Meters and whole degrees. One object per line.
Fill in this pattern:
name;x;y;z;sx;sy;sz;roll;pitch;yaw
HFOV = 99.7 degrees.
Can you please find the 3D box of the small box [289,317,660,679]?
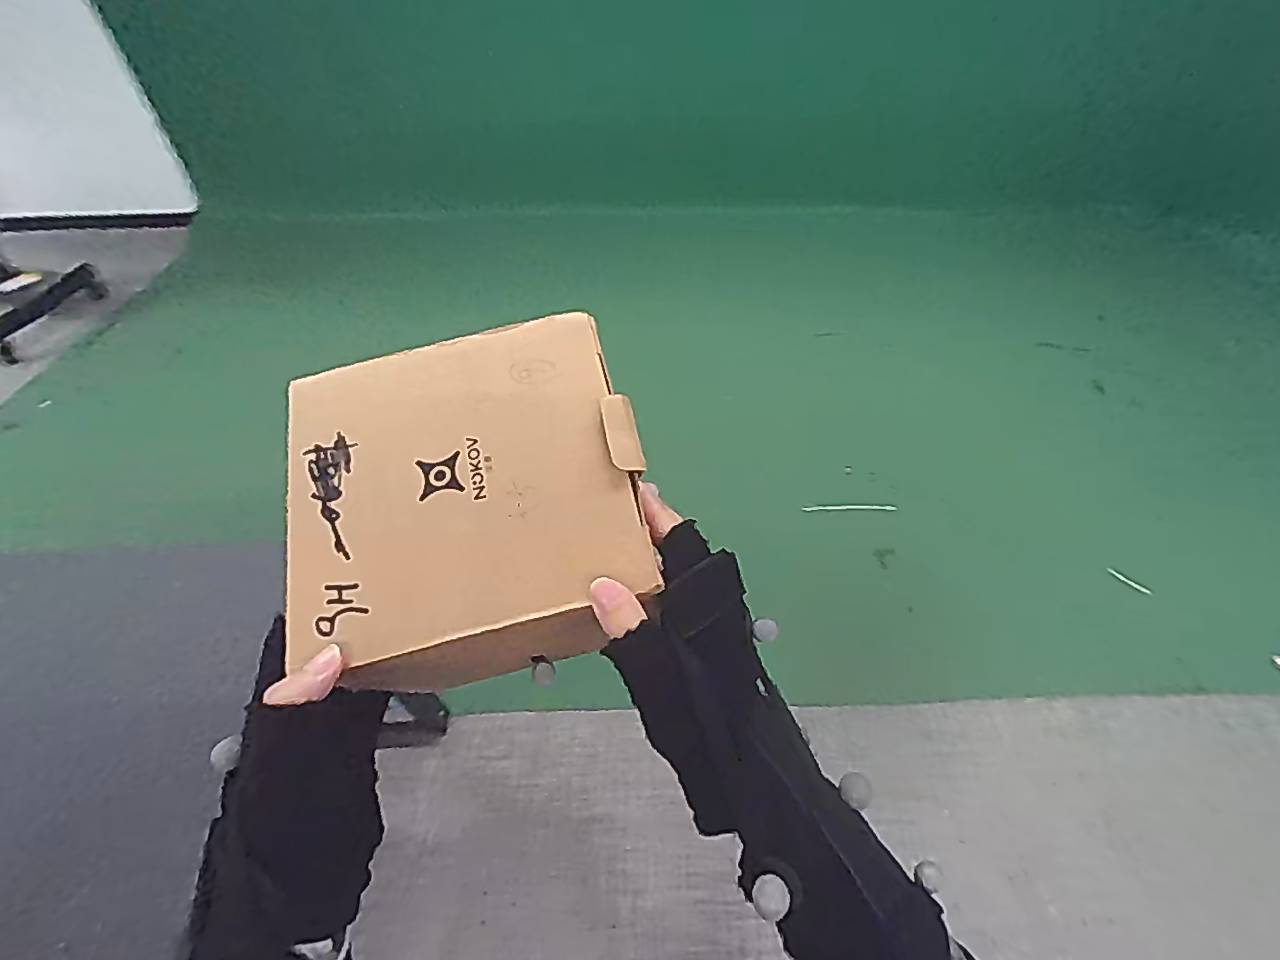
small box;-0.088;0.026;0.353;0.179;0.176;0.168;-13;67;-1
